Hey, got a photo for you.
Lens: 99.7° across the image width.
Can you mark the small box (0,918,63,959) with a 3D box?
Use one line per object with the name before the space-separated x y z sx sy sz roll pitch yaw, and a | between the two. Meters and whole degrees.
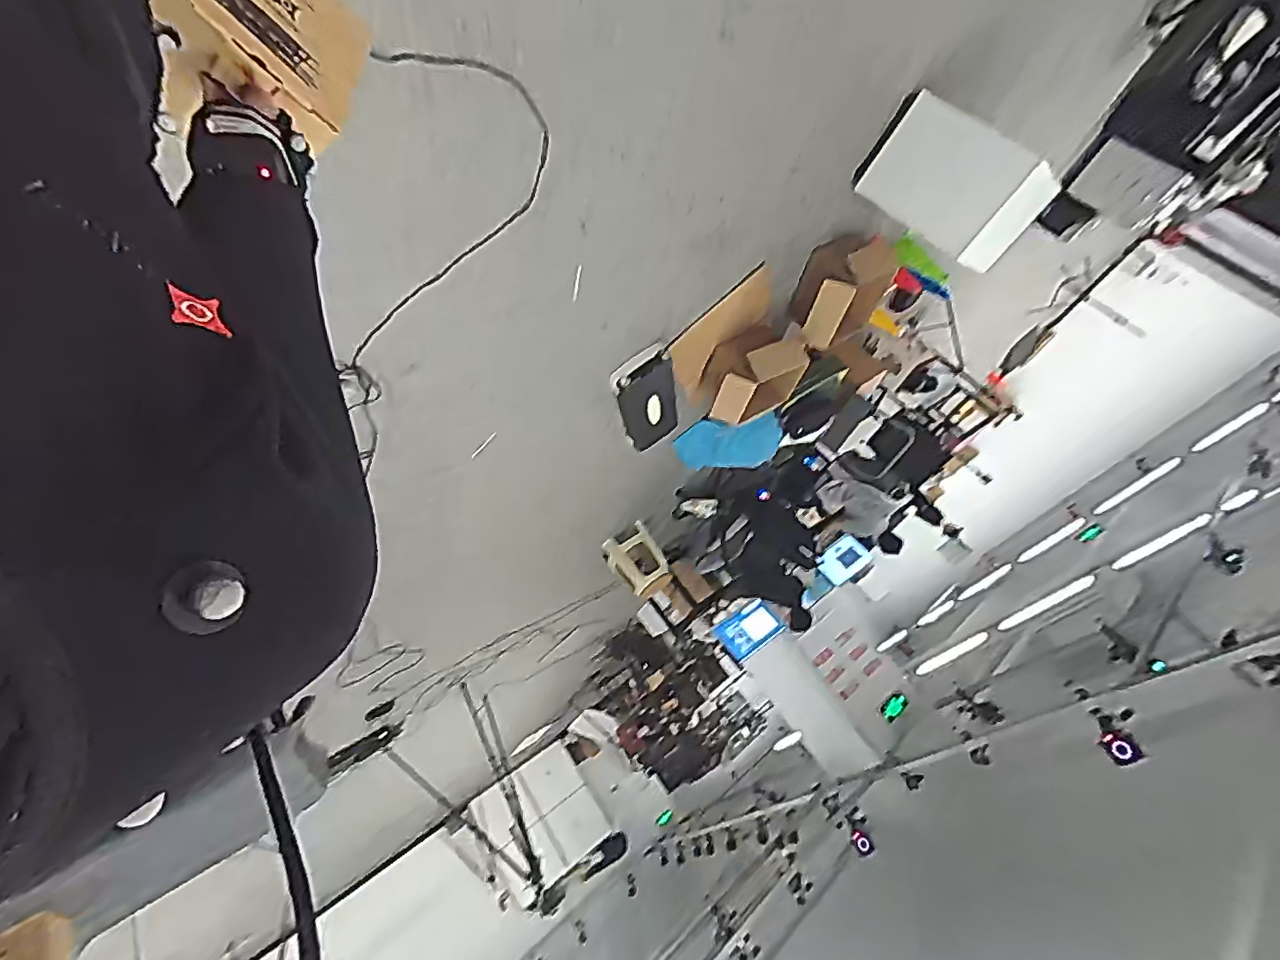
small box | -1.395 1.105 1.178 0.168 0.176 0.179 -18 150 -42
